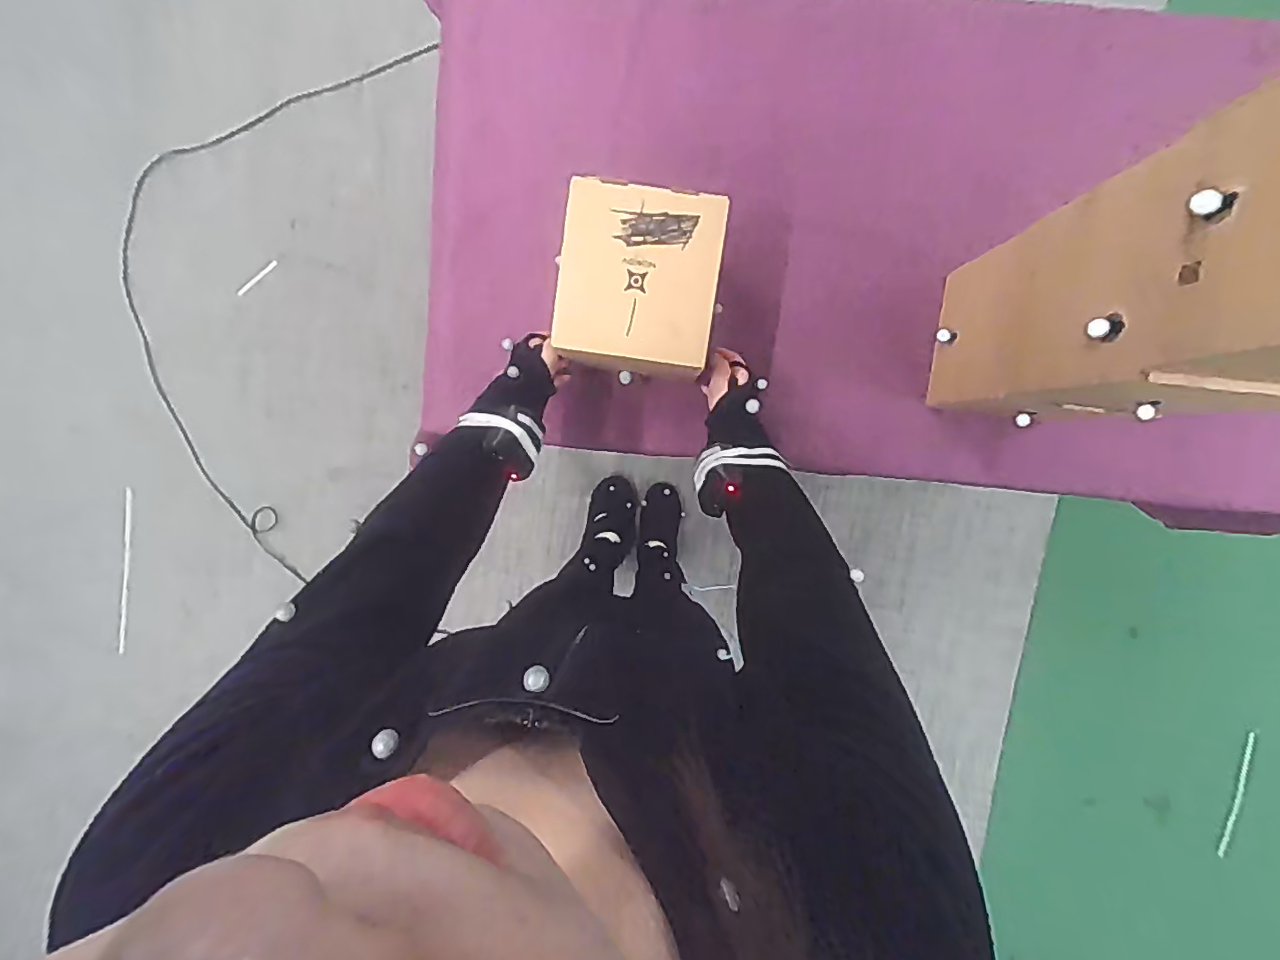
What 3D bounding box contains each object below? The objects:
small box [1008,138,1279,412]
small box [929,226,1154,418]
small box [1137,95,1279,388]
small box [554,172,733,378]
[{"bbox_3d":[0.459,-0.154,0.466,0.168,0.176,0.179,7,95,0],"label":"small box"},{"bbox_3d":[0.467,-0.170,0.631,0.168,0.176,0.179,7,96,0],"label":"small box"},{"bbox_3d":[0.451,-0.143,0.303,0.179,0.176,0.168,7,95,2],"label":"small box"},{"bbox_3d":[0.003,-0.225,0.636,0.168,0.176,0.179,9,97,1],"label":"small box"}]
